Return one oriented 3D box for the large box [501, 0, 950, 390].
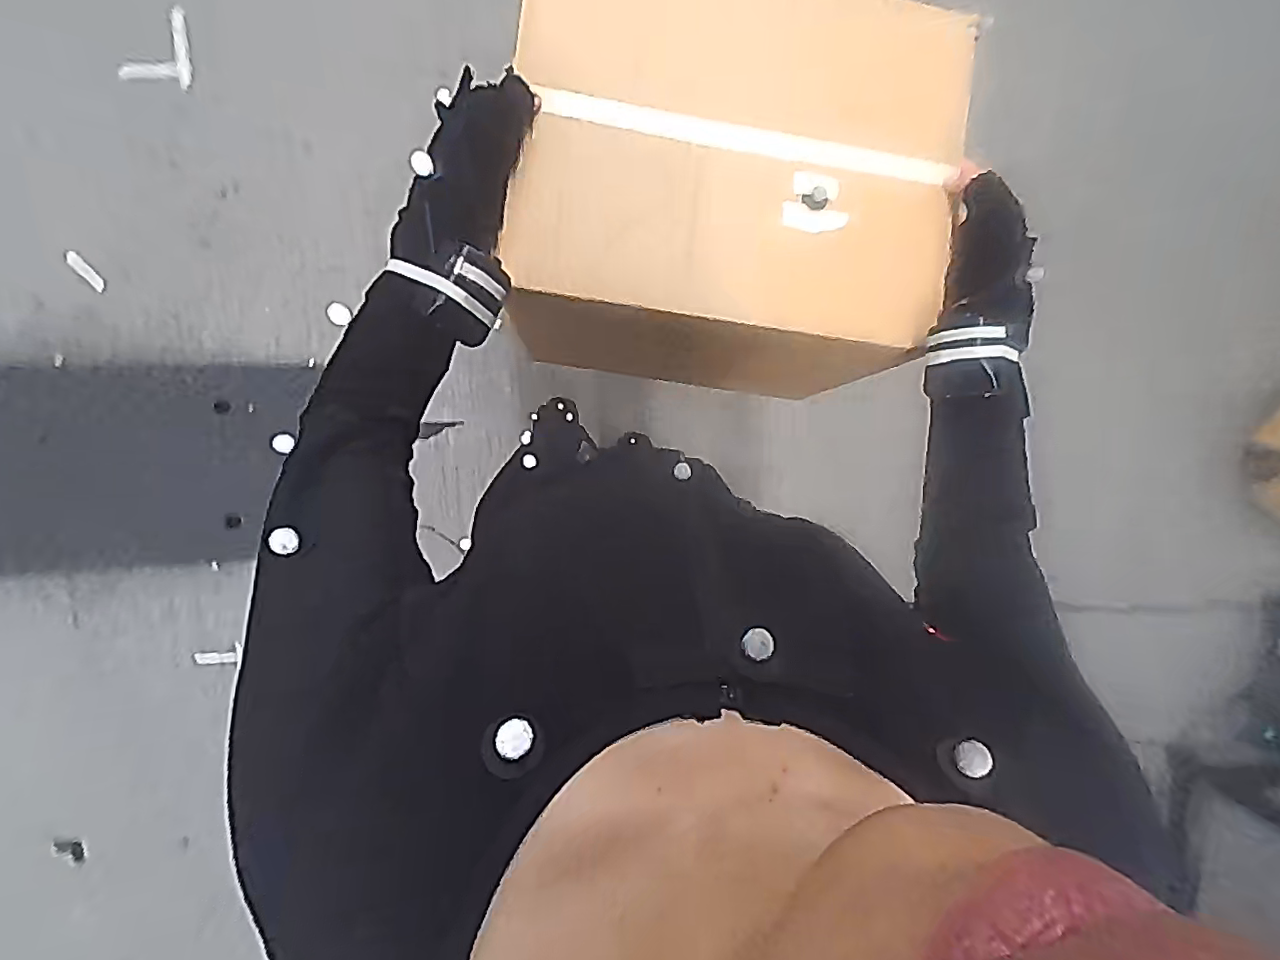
[{"bbox_3d":[0.069,-0.301,0.637,0.408,0.320,0.320,6,90,-6],"label":"large box"}]
